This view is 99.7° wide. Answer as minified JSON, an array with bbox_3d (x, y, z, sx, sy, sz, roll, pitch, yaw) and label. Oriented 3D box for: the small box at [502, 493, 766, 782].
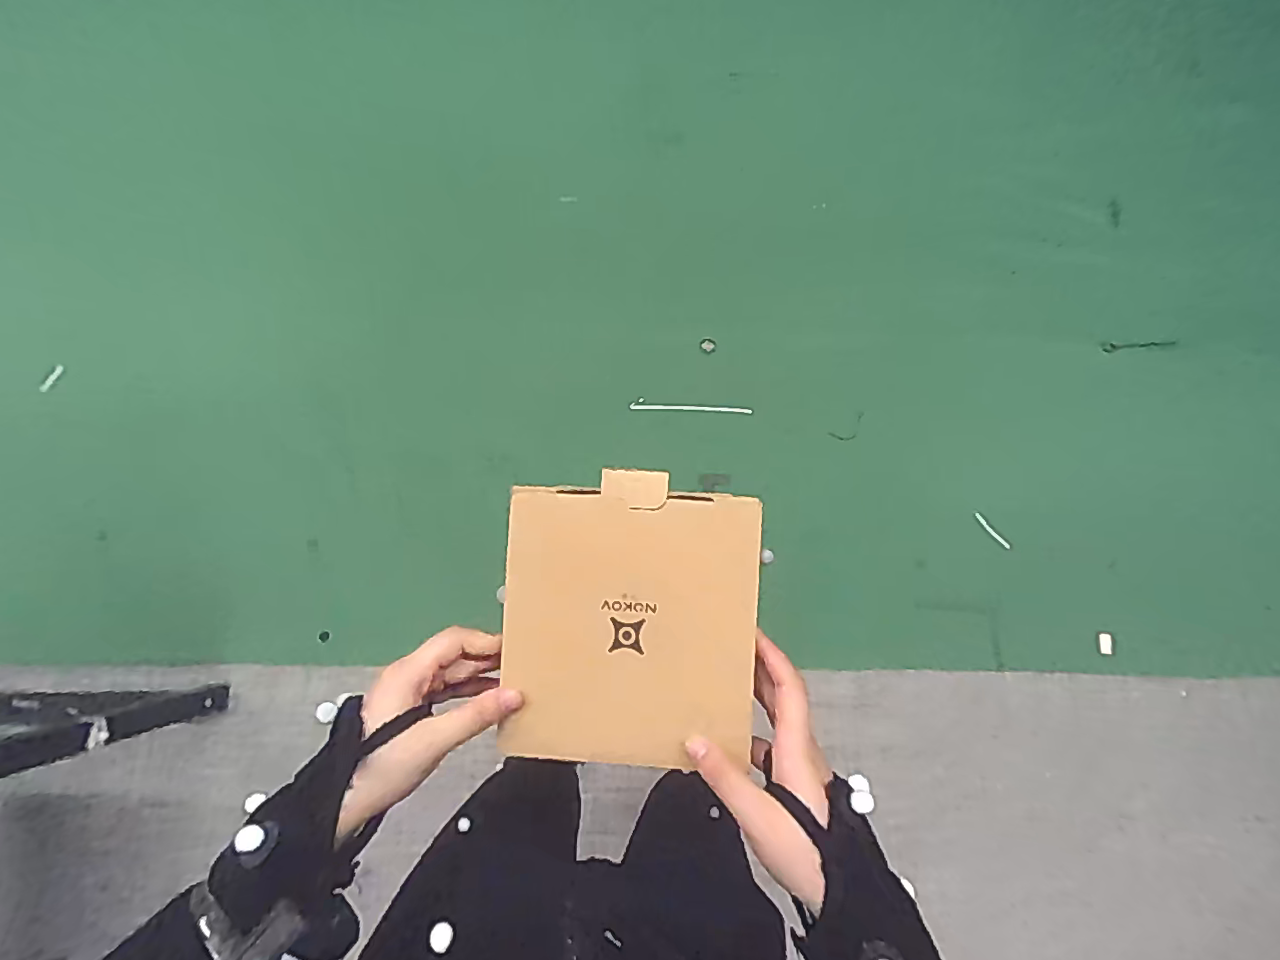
[{"bbox_3d":[0.000,0.101,0.423,0.168,0.176,0.179,2,88,3],"label":"small box"}]
